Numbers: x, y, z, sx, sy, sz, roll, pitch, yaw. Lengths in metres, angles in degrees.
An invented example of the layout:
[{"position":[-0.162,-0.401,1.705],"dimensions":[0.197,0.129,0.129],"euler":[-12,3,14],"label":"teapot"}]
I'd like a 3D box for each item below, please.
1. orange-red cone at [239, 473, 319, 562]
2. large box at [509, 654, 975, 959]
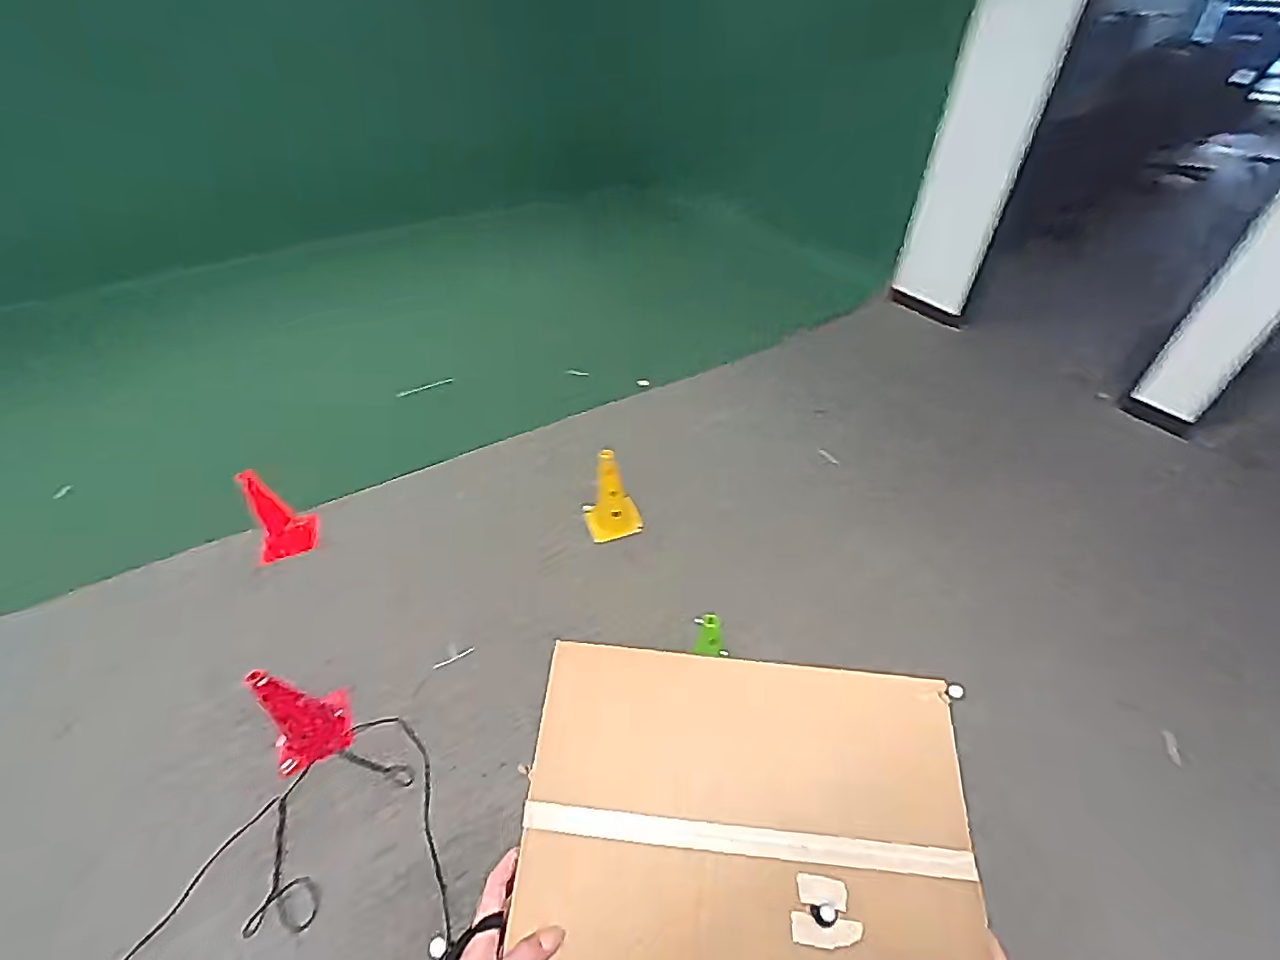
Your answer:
[{"position":[-1.408,0.114,2.052],"dimensions":[0.199,0.360,0.198],"euler":[-18,45,-13],"label":"orange-red cone"},{"position":[0.090,0.401,0.629],"dimensions":[0.408,0.320,0.320],"euler":[3,62,2],"label":"large box"}]
